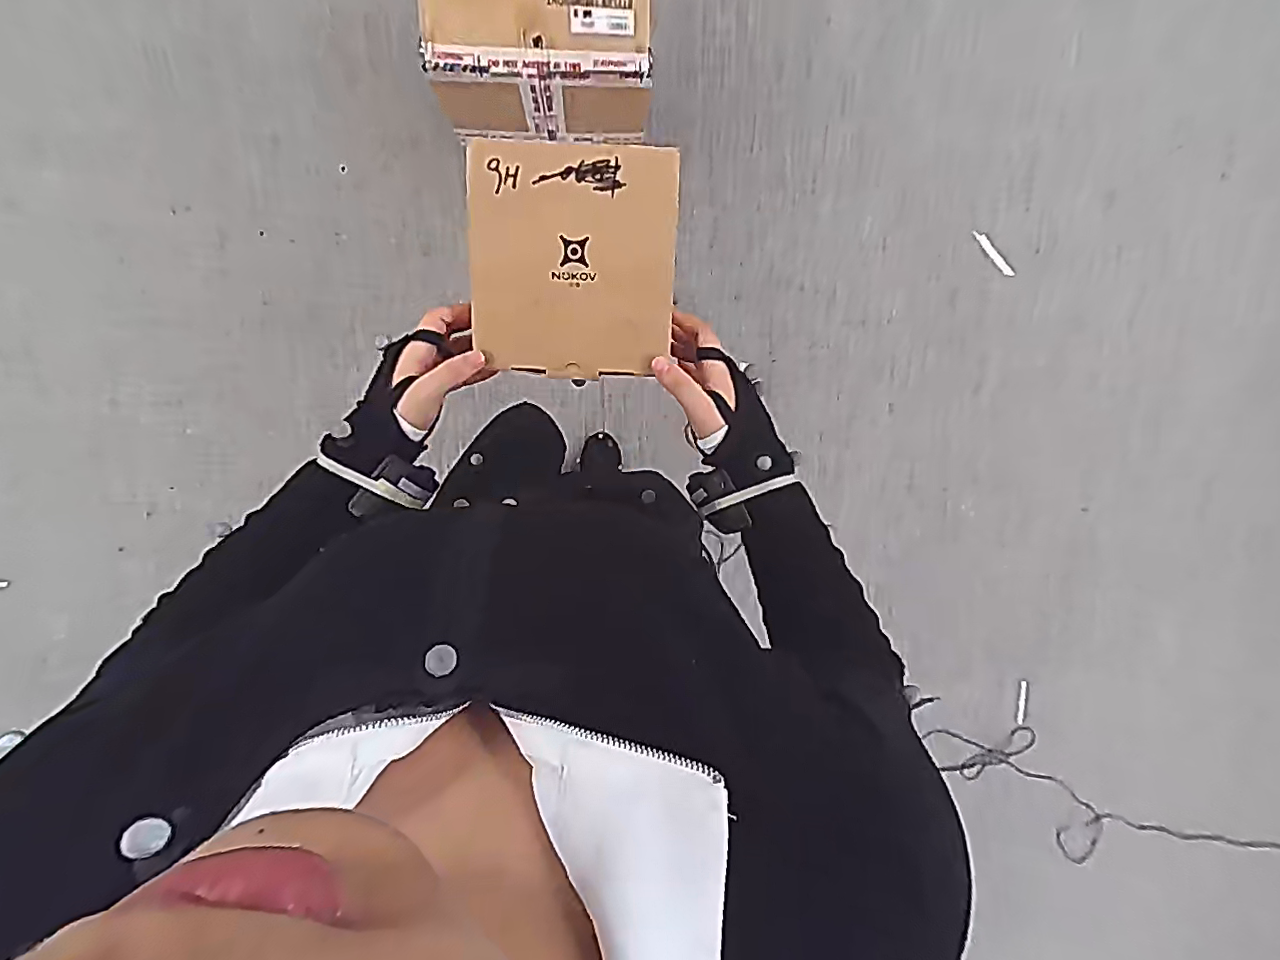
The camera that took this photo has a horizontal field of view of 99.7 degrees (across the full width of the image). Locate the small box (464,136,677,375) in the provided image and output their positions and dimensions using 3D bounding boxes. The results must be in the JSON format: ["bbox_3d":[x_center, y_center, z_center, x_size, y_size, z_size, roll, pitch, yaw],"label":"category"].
[{"bbox_3d":[-0.057,-0.195,0.510,0.168,0.176,0.179,1,104,-2],"label":"small box"}]
